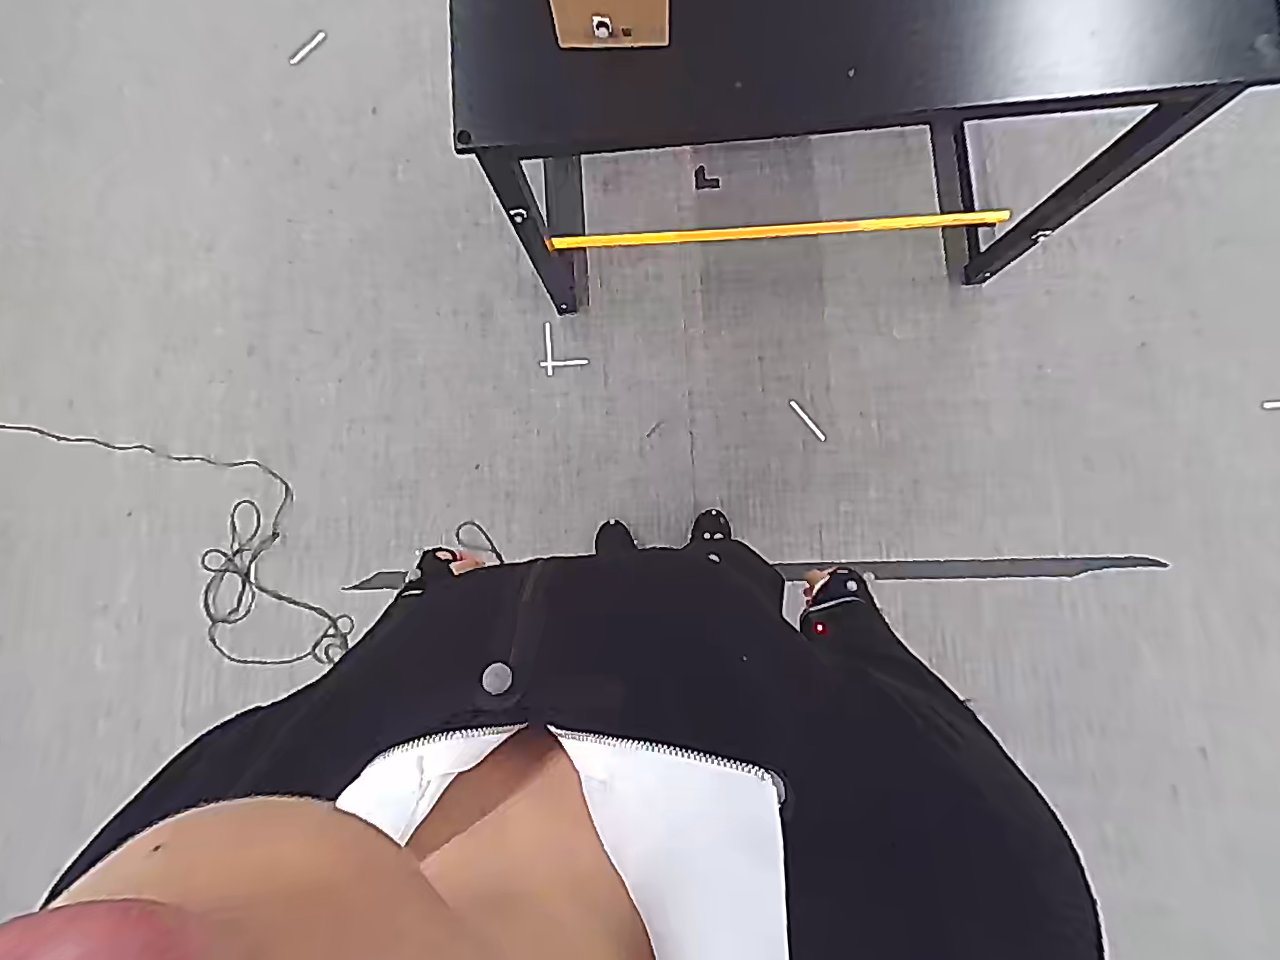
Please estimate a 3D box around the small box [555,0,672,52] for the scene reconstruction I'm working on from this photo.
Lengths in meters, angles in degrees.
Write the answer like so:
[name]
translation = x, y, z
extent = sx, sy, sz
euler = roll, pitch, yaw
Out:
[small box]
translation = -0.039, -0.741, 0.743
extent = 0.168, 0.176, 0.179
euler = 0, 87, 4
